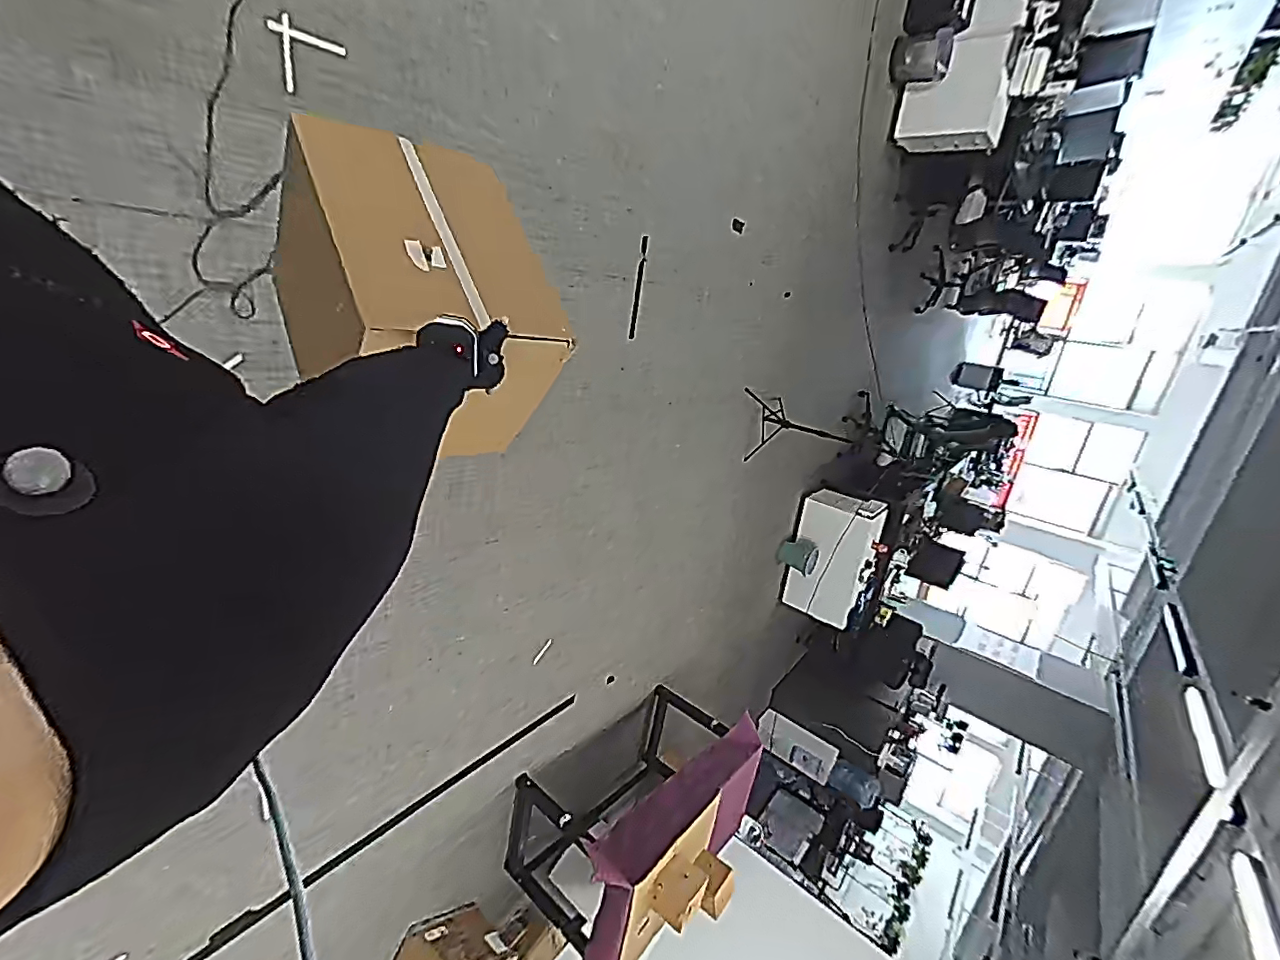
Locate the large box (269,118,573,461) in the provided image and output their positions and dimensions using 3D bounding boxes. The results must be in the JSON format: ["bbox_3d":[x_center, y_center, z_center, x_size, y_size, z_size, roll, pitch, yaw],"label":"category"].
[{"bbox_3d":[-0.383,-0.288,0.911,0.320,0.408,0.320,-10,157,-44],"label":"large box"}]
